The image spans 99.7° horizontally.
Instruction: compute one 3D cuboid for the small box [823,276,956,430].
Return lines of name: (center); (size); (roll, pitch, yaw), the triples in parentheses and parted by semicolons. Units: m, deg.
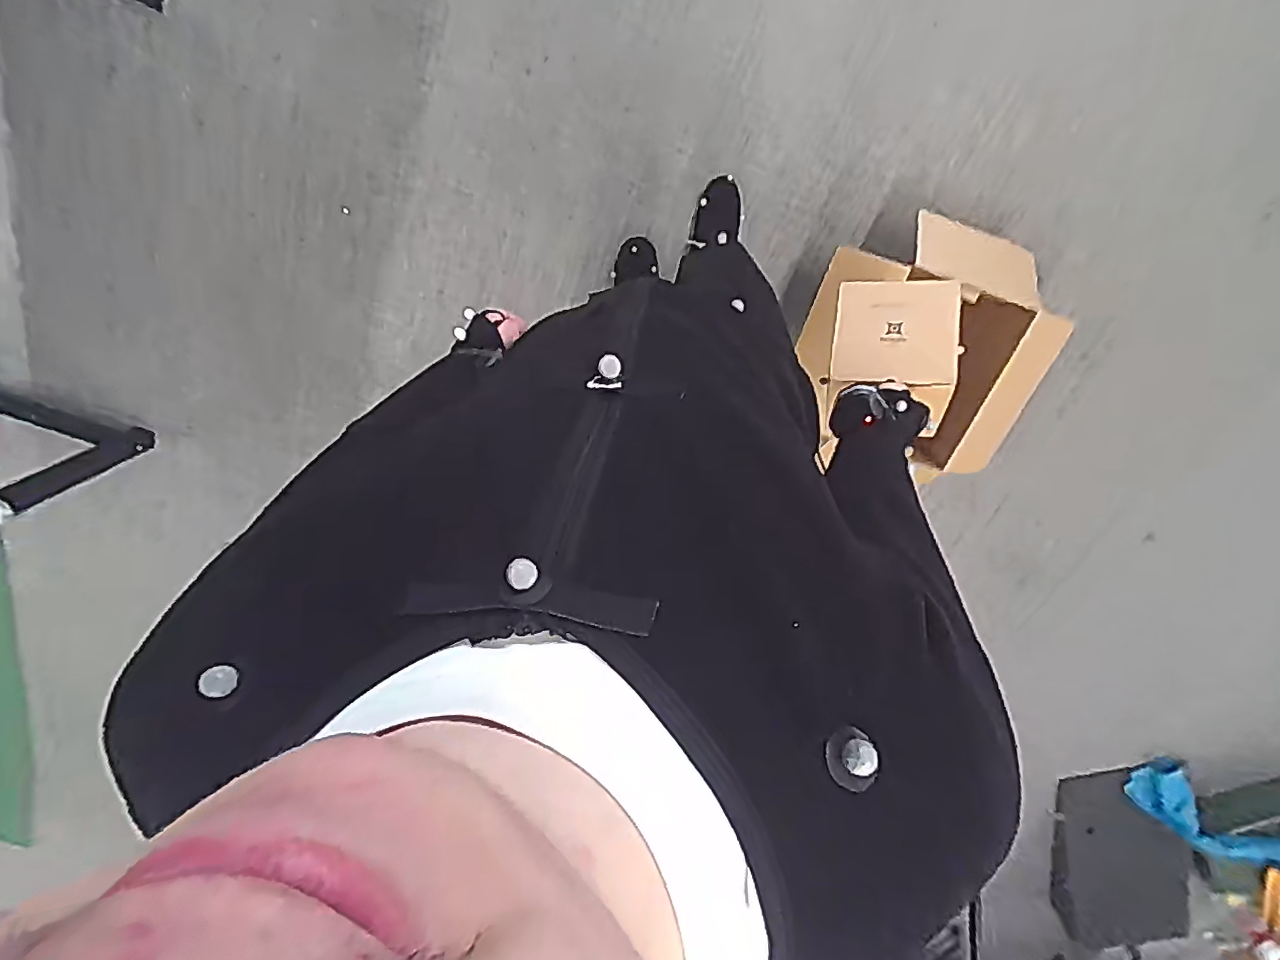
small box: (0.381, -0.192, 0.847); (0.168, 0.179, 0.176); (6, 160, 18)
